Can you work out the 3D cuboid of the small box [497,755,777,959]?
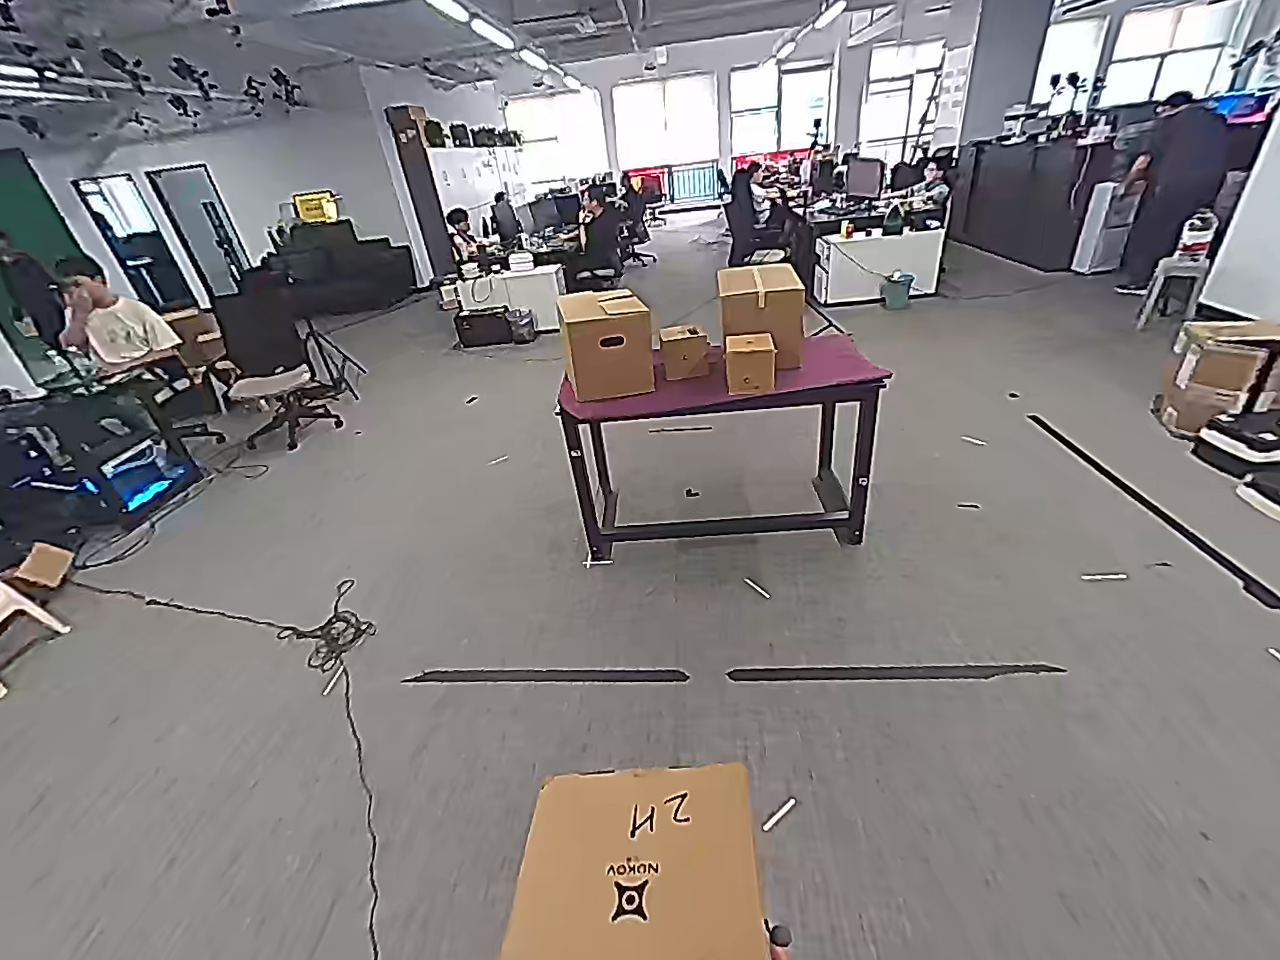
[{"bbox_3d":[0.011,0.334,0.387,0.168,0.176,0.179,-8,24,8],"label":"small box"}]
